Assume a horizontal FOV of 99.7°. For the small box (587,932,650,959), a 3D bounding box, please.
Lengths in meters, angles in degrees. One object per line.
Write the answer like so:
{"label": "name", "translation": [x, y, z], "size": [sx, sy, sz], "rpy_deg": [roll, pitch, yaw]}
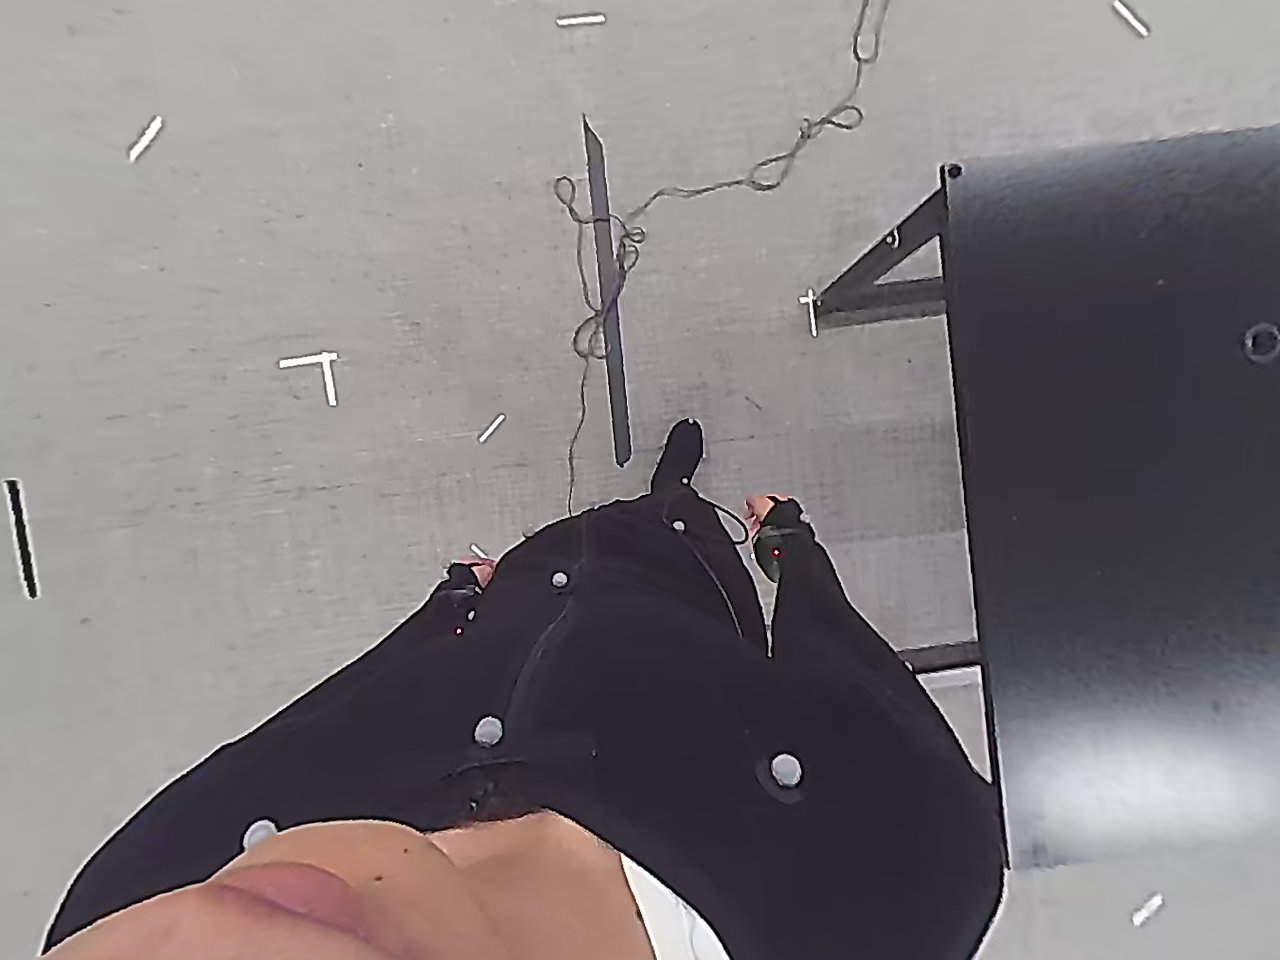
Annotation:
{"label": "small box", "translation": [-0.053, 1.342, 1.417], "size": [0.168, 0.176, 0.179], "rpy_deg": [-5, 93, 0]}
